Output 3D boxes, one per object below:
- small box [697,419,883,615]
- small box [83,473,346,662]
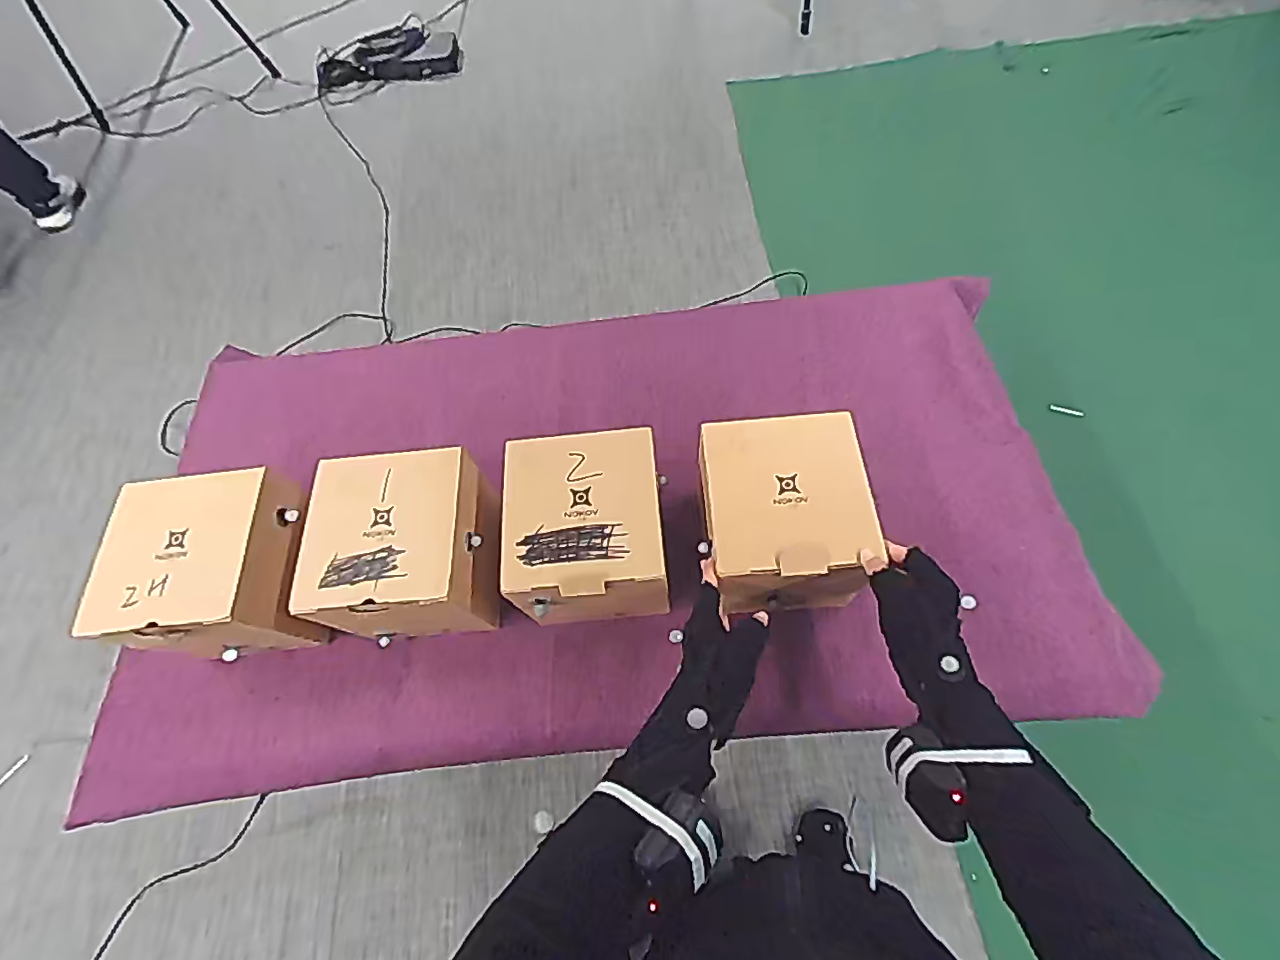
[{"bbox_3d":[0.157,0.050,0.636,0.168,0.176,0.179,-5,64,3],"label":"small box"},{"bbox_3d":[-0.488,0.112,0.656,0.168,0.176,0.179,-7,64,2],"label":"small box"}]
